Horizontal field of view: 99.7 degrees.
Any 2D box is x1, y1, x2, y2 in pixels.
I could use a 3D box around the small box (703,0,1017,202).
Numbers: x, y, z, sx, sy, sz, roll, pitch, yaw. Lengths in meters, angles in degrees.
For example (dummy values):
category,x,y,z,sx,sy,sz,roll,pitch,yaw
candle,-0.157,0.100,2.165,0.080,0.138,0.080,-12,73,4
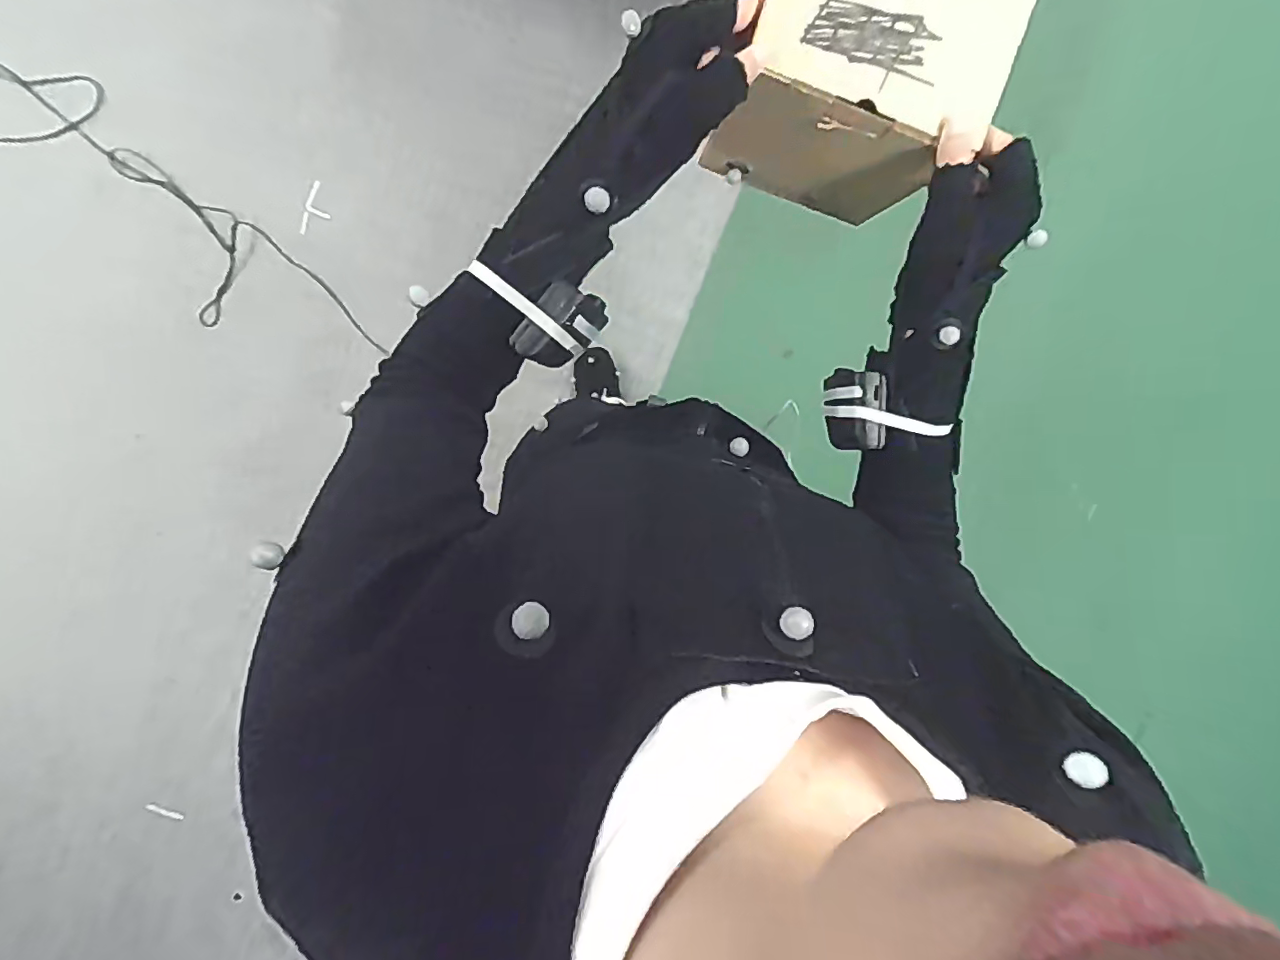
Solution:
category,x,y,z,sx,sy,sz,roll,pitch,yaw
small box,0.155,-0.342,0.410,0.168,0.176,0.179,16,99,-7
